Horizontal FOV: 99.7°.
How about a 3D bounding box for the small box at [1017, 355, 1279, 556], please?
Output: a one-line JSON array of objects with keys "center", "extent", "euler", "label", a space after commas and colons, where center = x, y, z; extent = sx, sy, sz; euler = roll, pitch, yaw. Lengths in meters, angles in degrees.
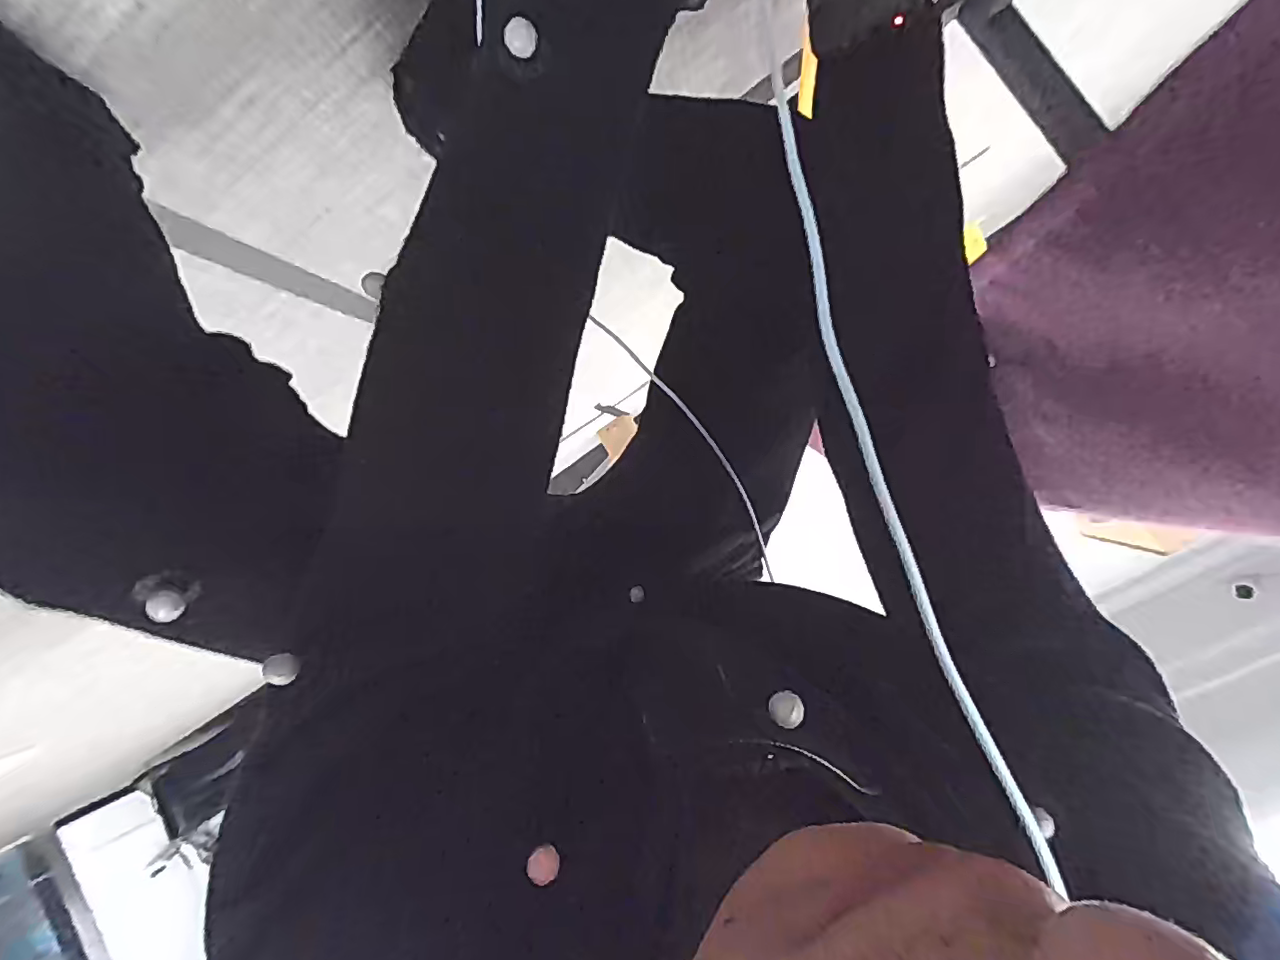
[{"center": [0.614, -0.031, 0.662], "extent": [0.168, 0.176, 0.179], "euler": [-32, 174, 12], "label": "small box"}]
